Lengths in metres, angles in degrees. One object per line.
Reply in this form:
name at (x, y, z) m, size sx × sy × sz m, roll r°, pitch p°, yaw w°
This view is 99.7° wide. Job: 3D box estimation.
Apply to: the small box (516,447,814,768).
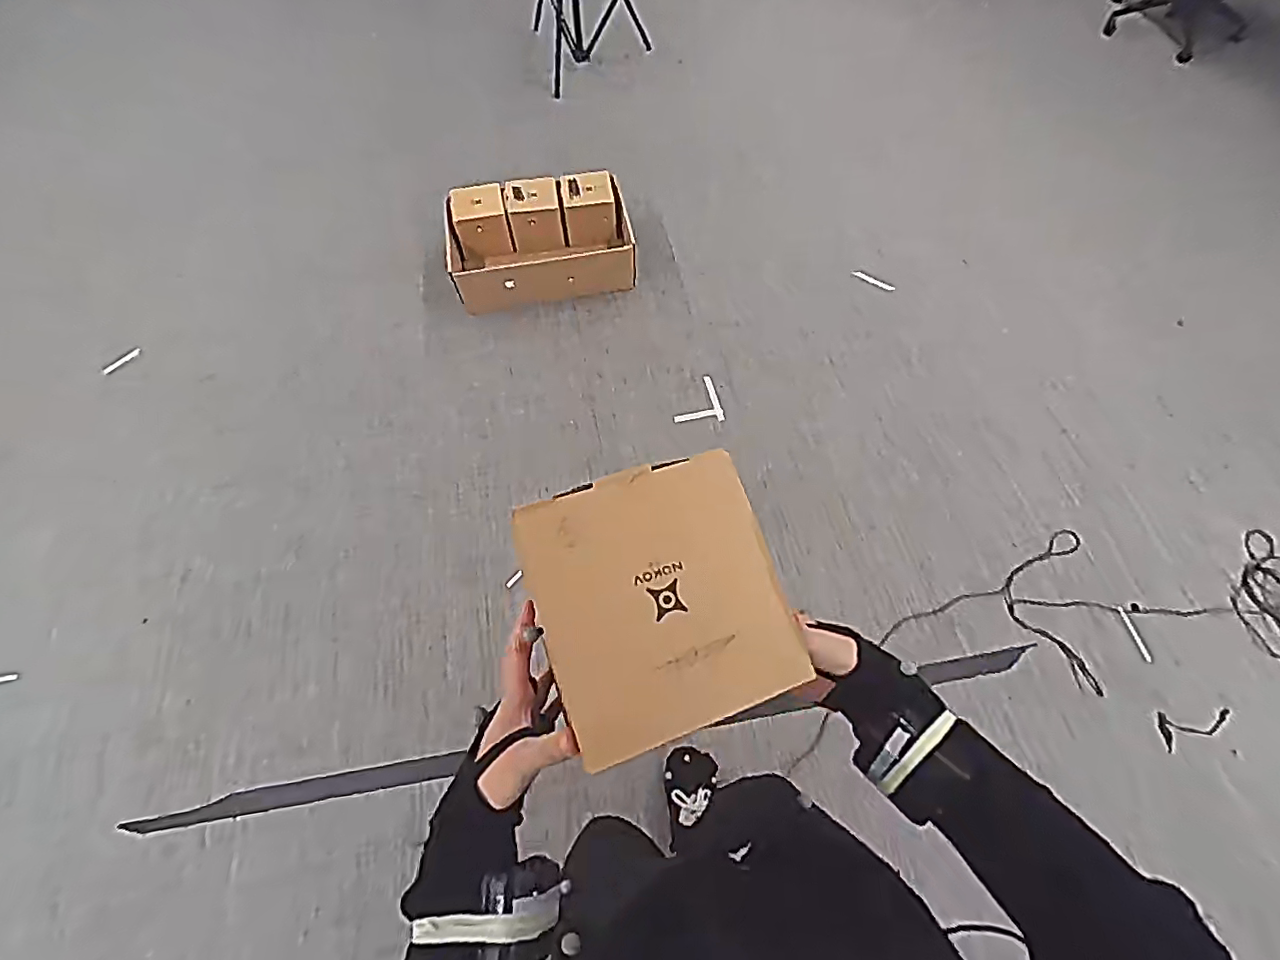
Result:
small box at (0.001, 0.097, 0.438) m, size 0.168 × 0.176 × 0.179 m, roll -17°, pitch 78°, yaw -15°
